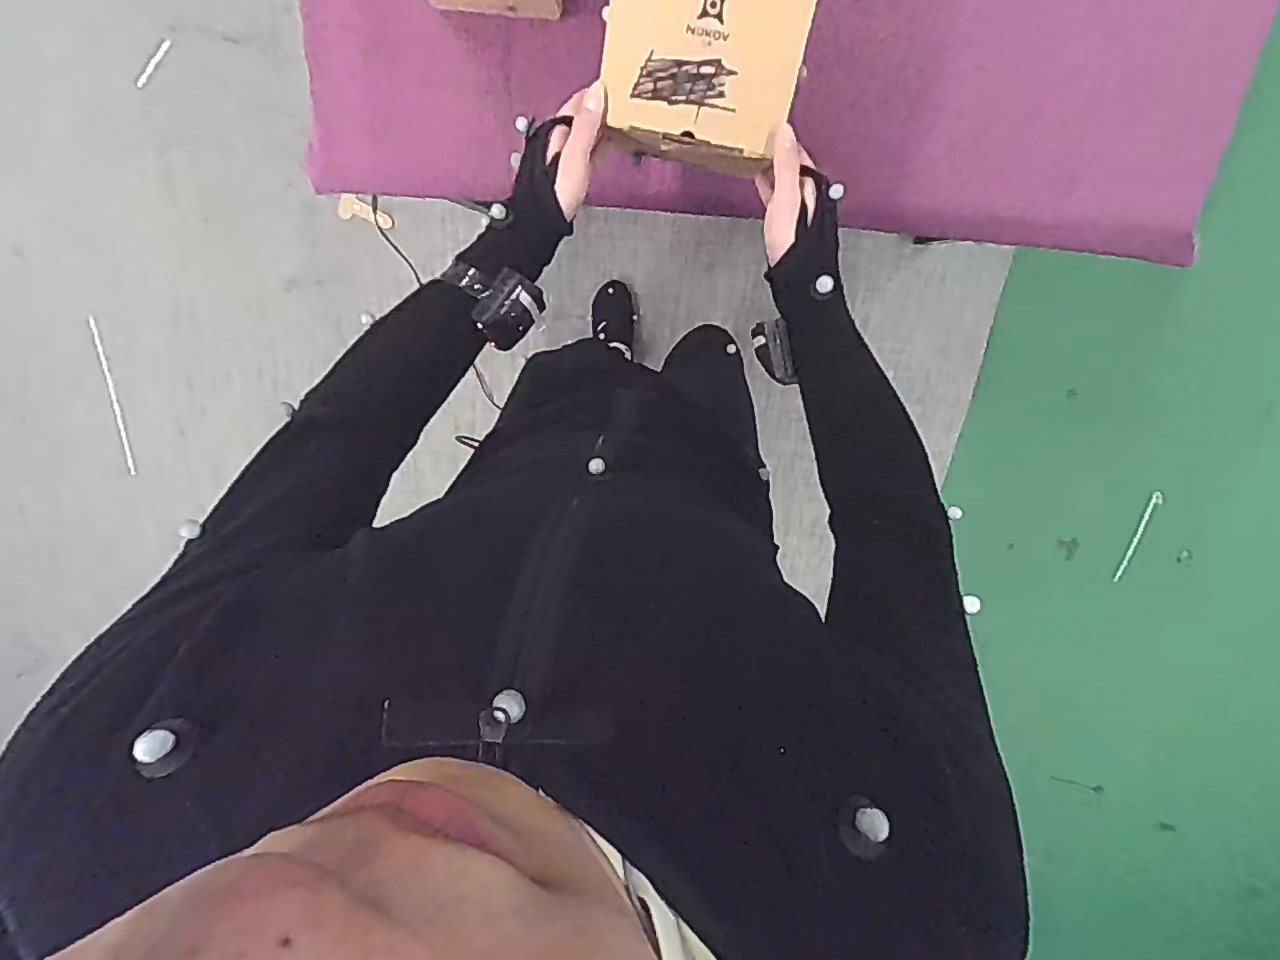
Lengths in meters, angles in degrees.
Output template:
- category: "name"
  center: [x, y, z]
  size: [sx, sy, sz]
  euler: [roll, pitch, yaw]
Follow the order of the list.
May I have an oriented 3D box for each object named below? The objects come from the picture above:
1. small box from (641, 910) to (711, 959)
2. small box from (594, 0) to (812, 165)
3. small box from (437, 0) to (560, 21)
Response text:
- category: "small box"
  center: [0.095, 1.293, 1.432]
  size: [0.168, 0.176, 0.179]
  euler: [8, 110, -3]
- category: "small box"
  center: [0.059, -0.415, 0.509]
  size: [0.168, 0.176, 0.179]
  euler: [10, 113, -3]
- category: "small box"
  center: [-0.173, -0.642, 0.576]
  size: [0.168, 0.176, 0.179]
  euler: [5, 110, -2]
